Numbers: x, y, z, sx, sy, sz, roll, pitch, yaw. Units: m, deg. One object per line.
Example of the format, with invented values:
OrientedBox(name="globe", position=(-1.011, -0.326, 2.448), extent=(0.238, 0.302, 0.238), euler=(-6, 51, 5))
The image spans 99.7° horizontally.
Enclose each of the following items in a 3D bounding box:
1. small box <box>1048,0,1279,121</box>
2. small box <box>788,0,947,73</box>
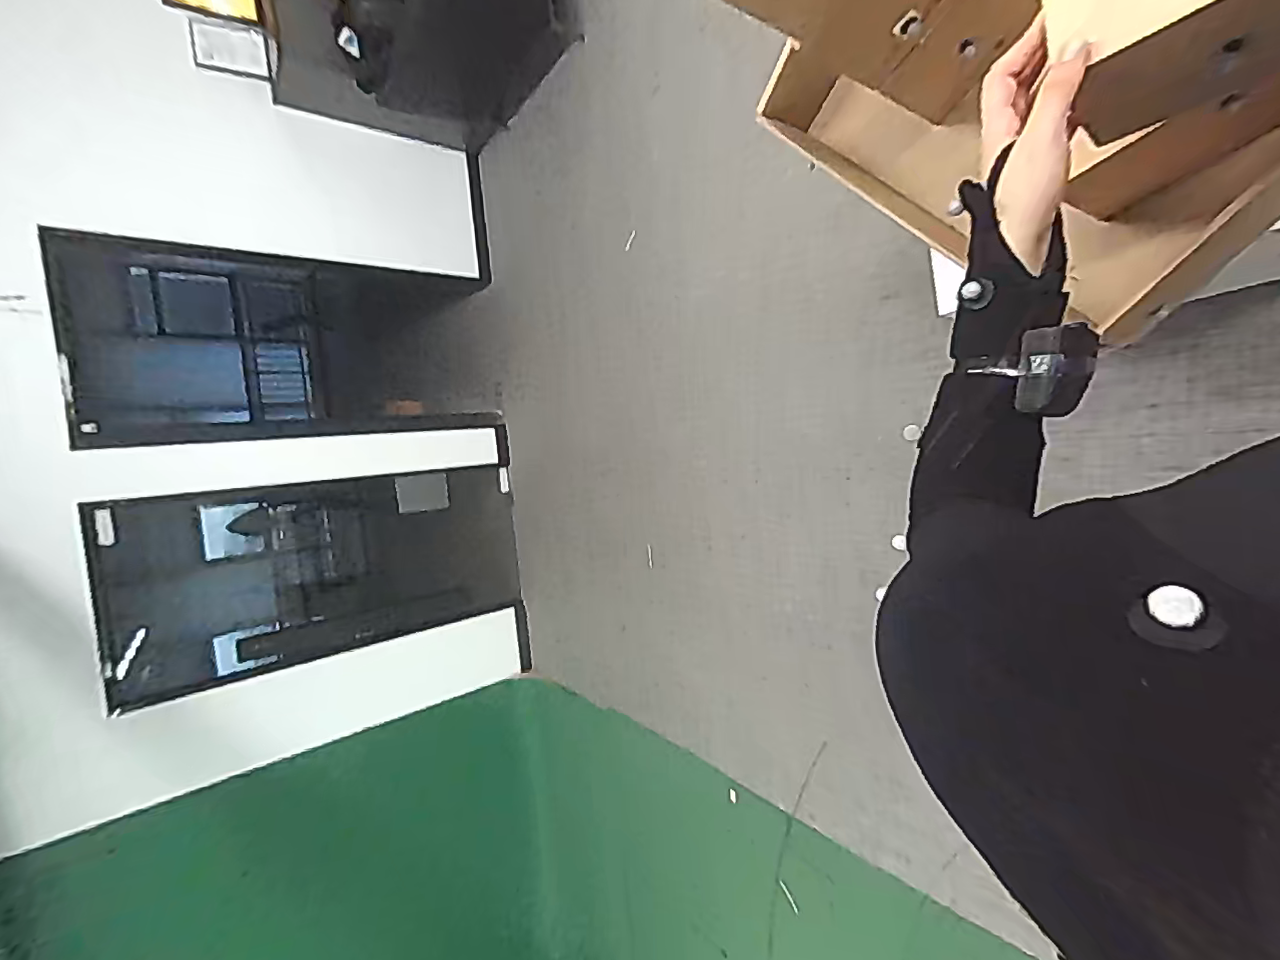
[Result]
OrientedBox(name="small box", position=(0.377, -0.370, 0.338), extent=(0.179, 0.176, 0.168), euler=(-4, 96, 49))
OrientedBox(name="small box", position=(0.249, -0.607, 0.606), extent=(0.168, 0.176, 0.179), euler=(-43, 65, 50))
